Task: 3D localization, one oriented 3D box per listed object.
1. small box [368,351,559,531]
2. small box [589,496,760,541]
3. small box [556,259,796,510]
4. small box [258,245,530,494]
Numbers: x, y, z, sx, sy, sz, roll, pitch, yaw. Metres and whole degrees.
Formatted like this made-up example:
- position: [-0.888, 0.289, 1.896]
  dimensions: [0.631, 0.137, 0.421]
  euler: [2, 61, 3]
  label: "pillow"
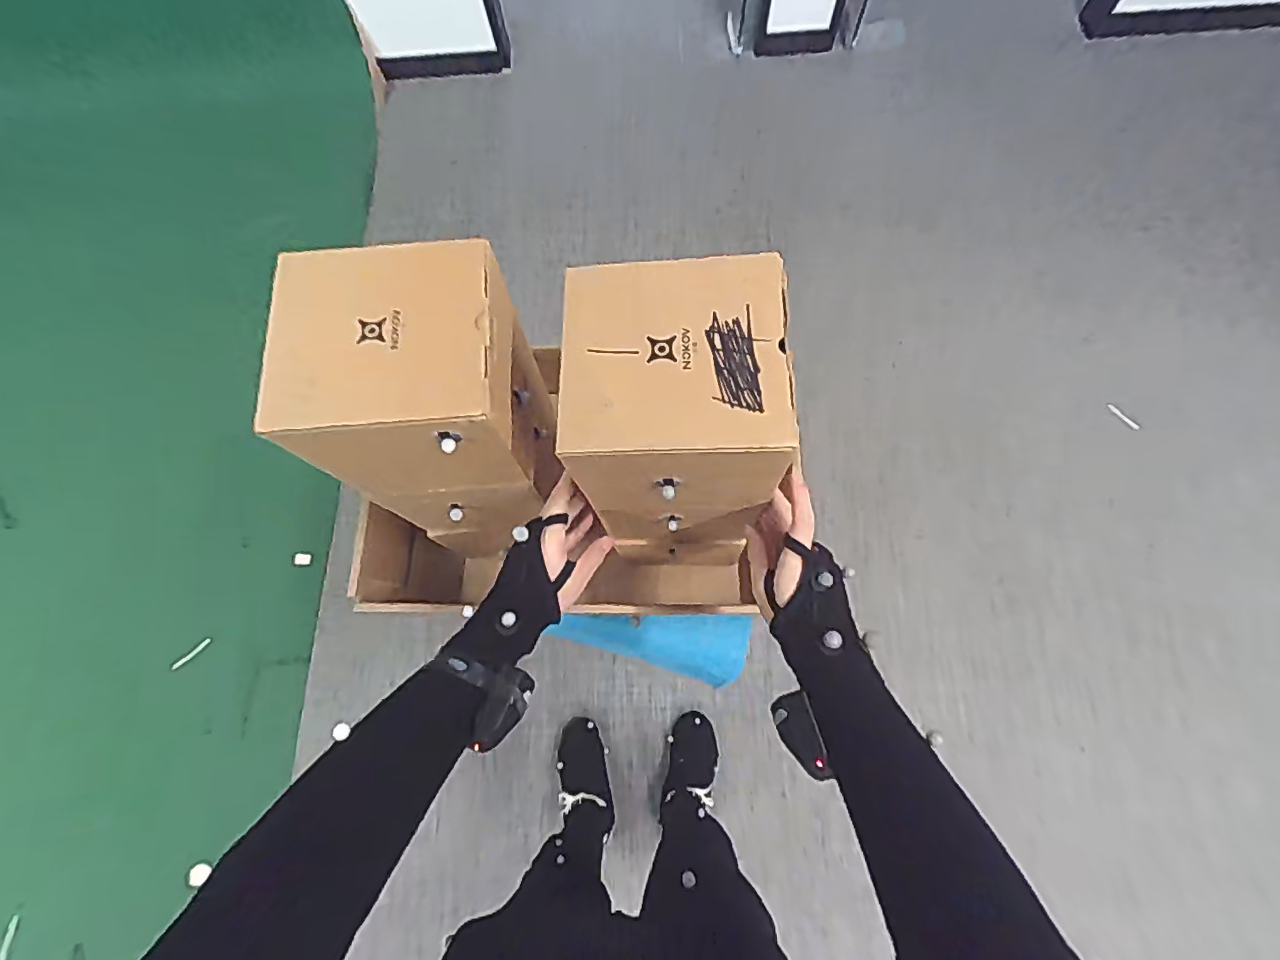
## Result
- position: [-0.202, -0.038, 0.663]
  dimensions: [0.179, 0.176, 0.168]
  euler: [-4, 72, -1]
  label: "small box"
- position: [0.043, -0.023, 0.644]
  dimensions: [0.179, 0.176, 0.168]
  euler: [0, 72, 4]
  label: "small box"
- position: [0.032, -0.073, 0.489]
  dimensions: [0.179, 0.176, 0.168]
  euler: [-1, 72, 5]
  label: "small box"
- position: [-0.207, -0.091, 0.507]
  dimensions: [0.179, 0.176, 0.168]
  euler: [-5, 72, -2]
  label: "small box"
